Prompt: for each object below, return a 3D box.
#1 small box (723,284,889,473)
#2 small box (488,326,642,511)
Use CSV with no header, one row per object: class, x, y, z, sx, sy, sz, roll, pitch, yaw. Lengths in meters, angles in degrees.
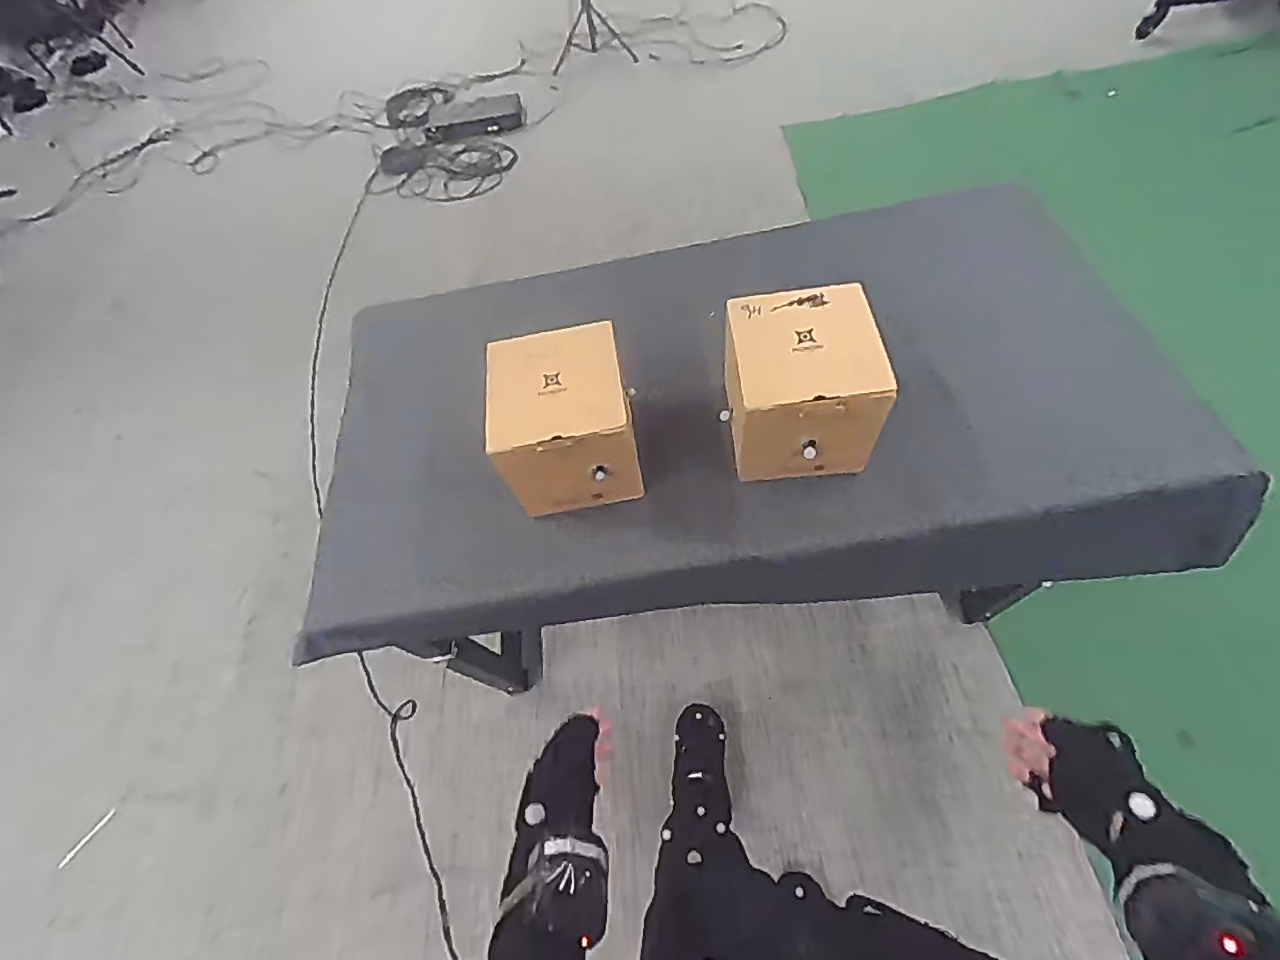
small box,0.201,-0.120,0.704,0.168,0.176,0.179,-6,61,6
small box,-0.096,-0.072,0.728,0.168,0.176,0.179,-11,58,1
